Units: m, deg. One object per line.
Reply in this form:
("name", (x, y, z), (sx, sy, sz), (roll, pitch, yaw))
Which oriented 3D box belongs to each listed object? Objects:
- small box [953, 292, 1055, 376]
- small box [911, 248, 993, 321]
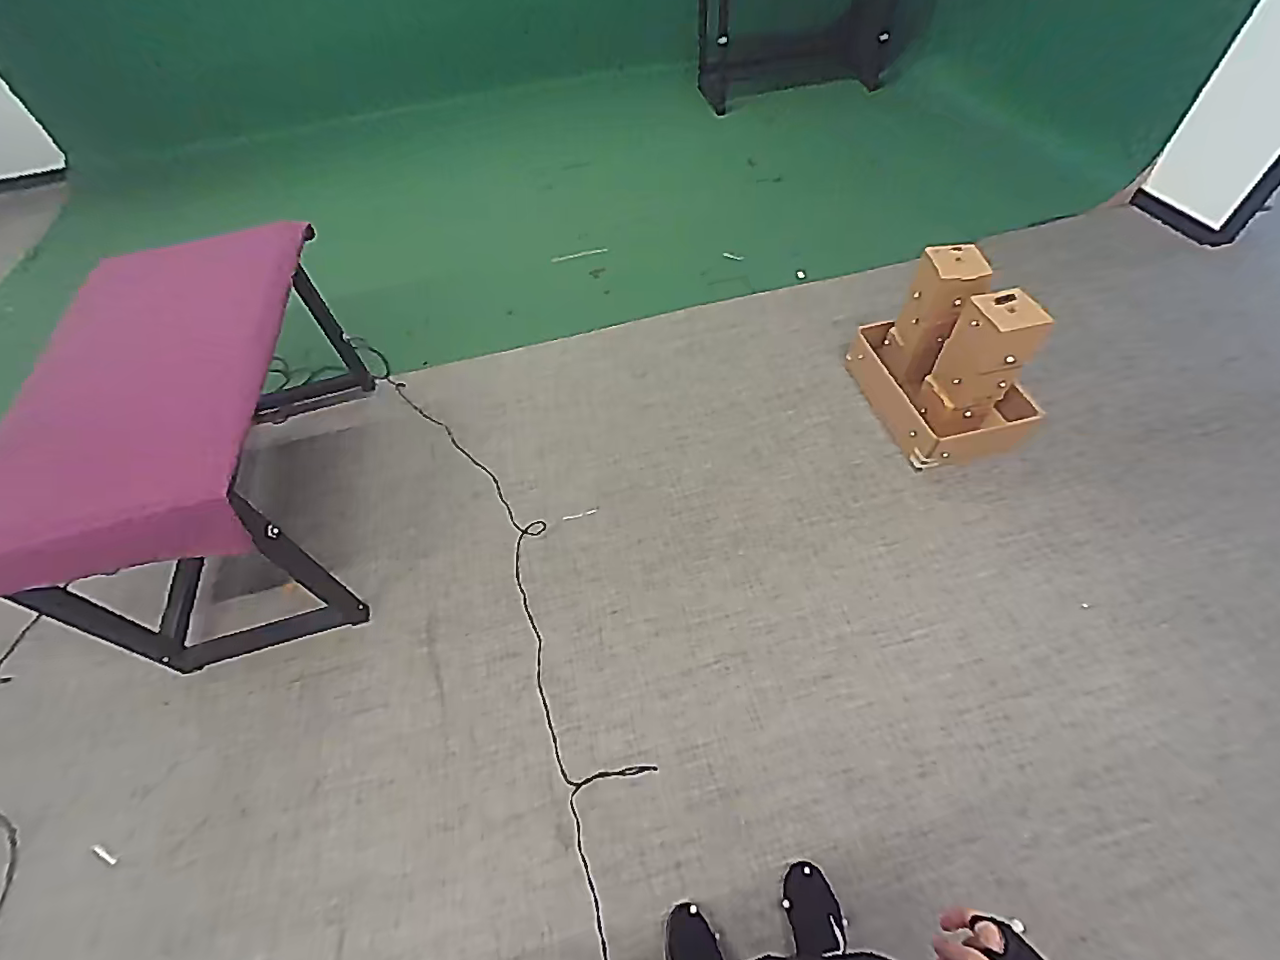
("small box", (1.117, -0.452, 1.680), (0.168, 0.176, 0.179), (-12, 53, -3))
("small box", (1.049, -0.655, 1.832), (0.168, 0.176, 0.179), (-3, 56, 3))
